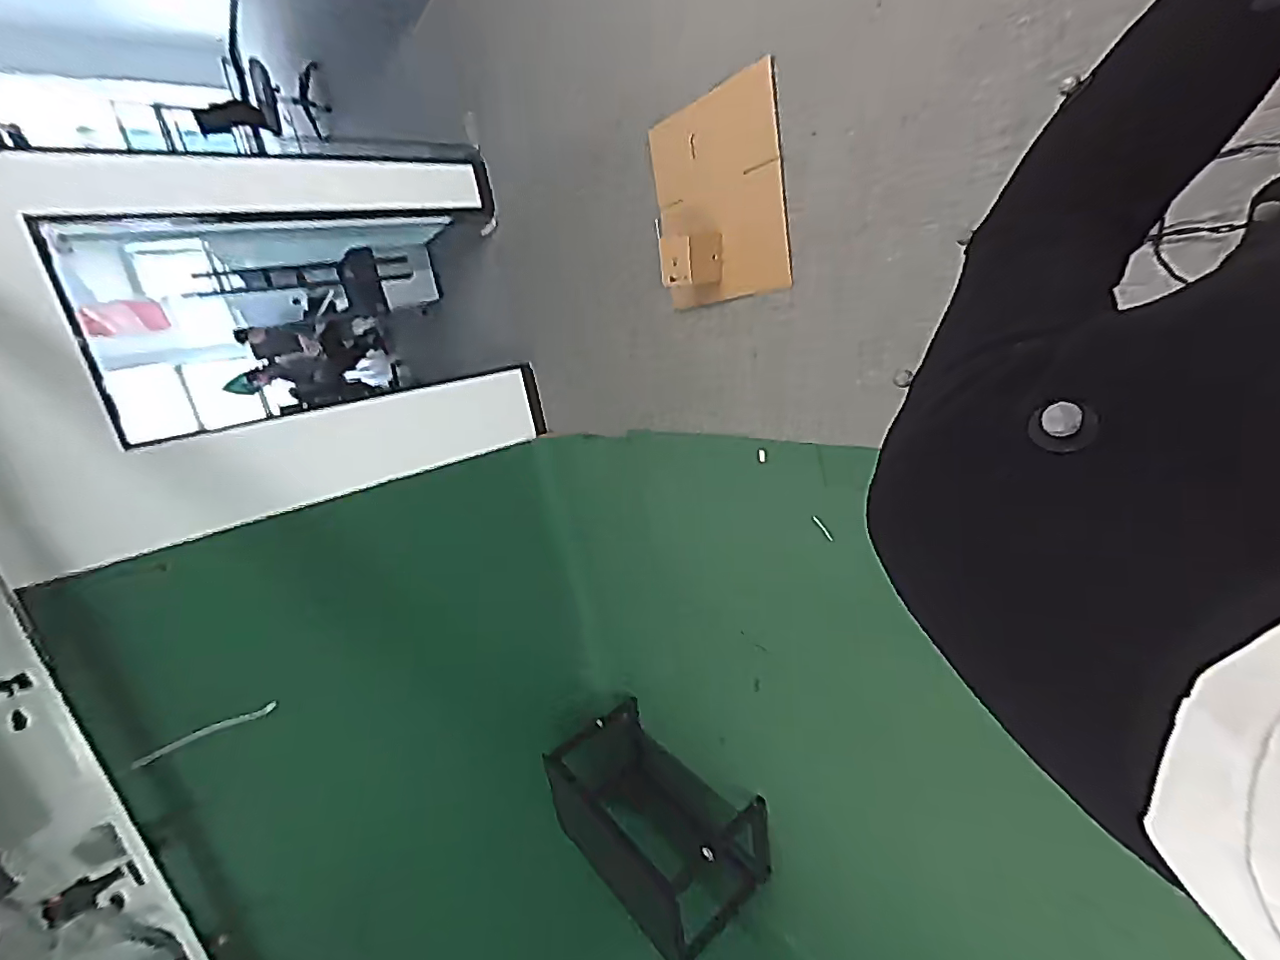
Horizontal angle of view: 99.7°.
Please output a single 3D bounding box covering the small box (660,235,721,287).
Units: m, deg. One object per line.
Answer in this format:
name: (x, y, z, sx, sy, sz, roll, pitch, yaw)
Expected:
small box: (0.195, -0.834, 2.058, 0.168, 0.176, 0.179, 21, 124, 47)
